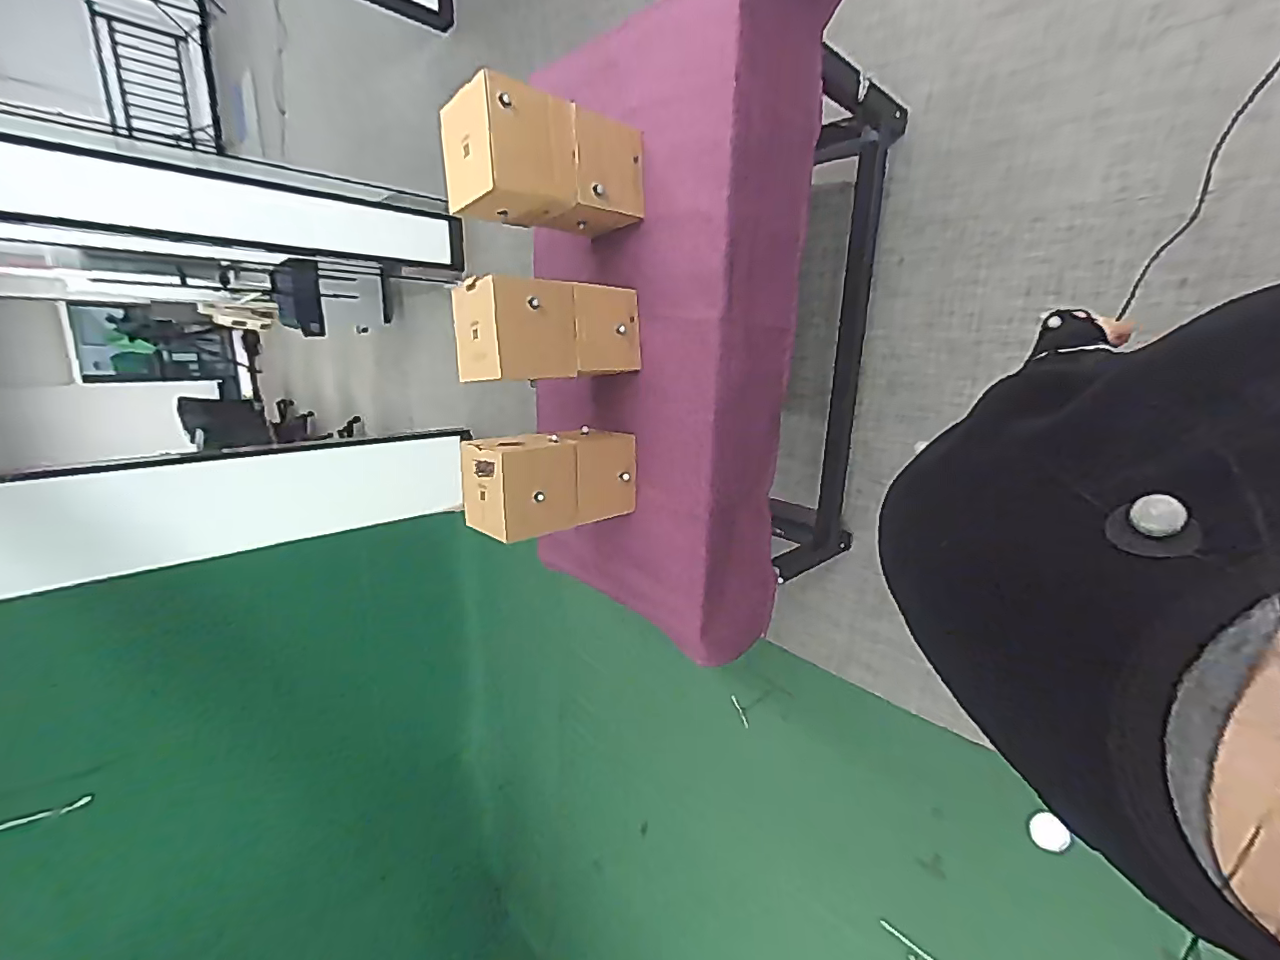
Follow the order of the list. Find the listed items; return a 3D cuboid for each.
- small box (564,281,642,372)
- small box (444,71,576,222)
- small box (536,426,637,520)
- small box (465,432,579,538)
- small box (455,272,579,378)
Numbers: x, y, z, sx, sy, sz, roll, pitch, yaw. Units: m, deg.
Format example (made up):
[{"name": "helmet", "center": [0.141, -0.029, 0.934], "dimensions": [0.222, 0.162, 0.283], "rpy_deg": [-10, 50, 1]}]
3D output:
[{"name": "small box", "center": [-0.116, -0.316, 1.148], "dimensions": [0.179, 0.176, 0.168], "rpy_deg": [6, 104, 46]}, {"name": "small box", "center": [-0.227, -0.575, 0.965], "dimensions": [0.168, 0.176, 0.179], "rpy_deg": [7, 104, 46]}, {"name": "small box", "center": [-0.119, -0.025, 1.216], "dimensions": [0.168, 0.176, 0.179], "rpy_deg": [14, 109, 45]}, {"name": "small box", "center": [-0.238, 0.000, 1.105], "dimensions": [0.168, 0.176, 0.179], "rpy_deg": [13, 109, 44]}, {"name": "small box", "center": [-0.232, -0.287, 1.037], "dimensions": [0.168, 0.176, 0.179], "rpy_deg": [9, 106, 46]}]
